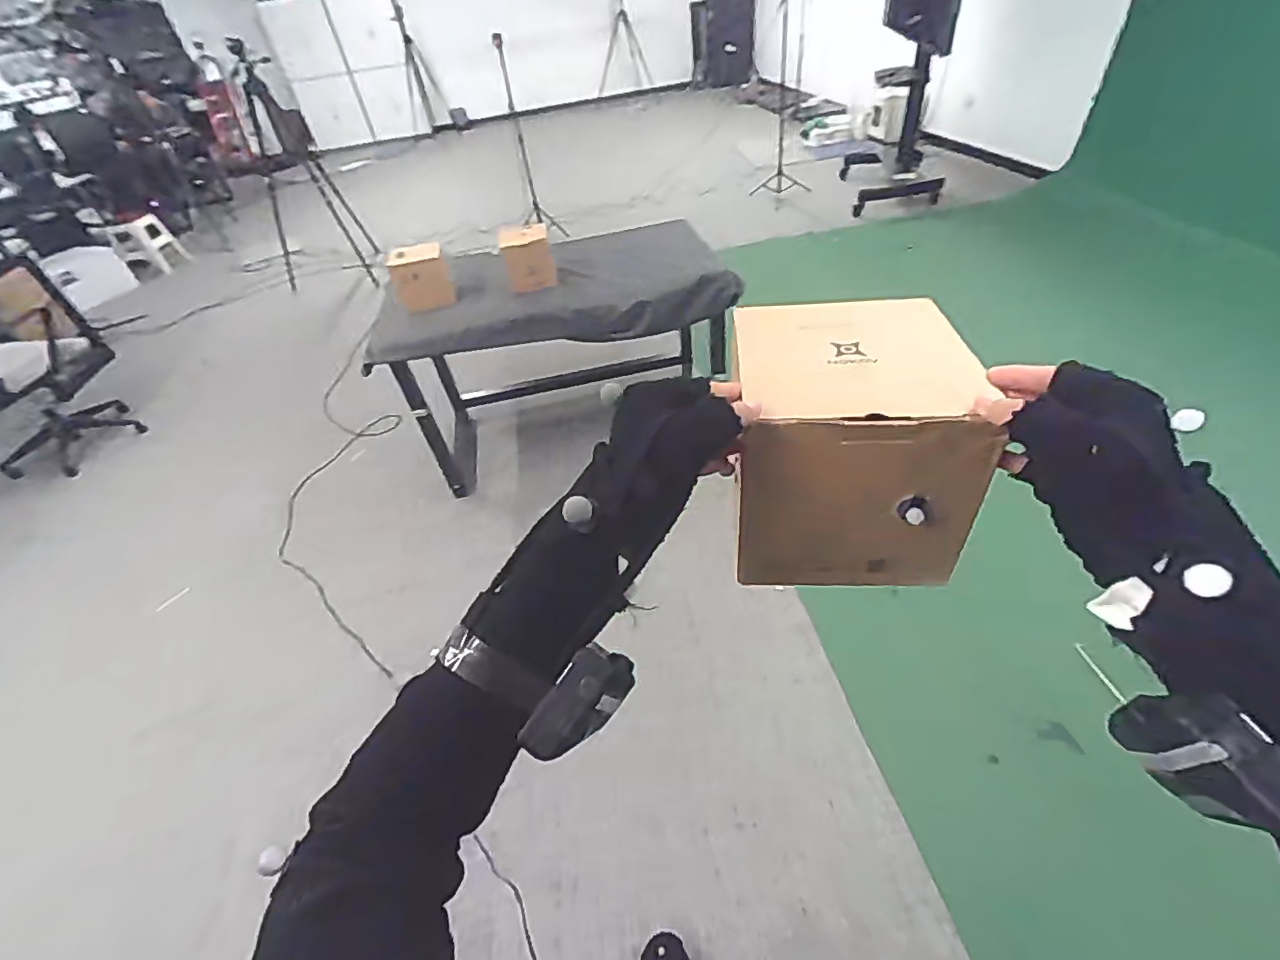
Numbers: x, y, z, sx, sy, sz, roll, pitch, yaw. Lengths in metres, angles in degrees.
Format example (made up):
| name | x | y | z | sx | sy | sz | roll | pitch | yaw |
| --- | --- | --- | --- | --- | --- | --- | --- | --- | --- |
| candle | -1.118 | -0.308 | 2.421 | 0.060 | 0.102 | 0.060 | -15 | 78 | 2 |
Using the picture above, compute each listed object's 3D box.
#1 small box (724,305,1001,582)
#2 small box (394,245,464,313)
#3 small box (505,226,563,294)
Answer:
| name | x | y | z | sx | sy | sz | roll | pitch | yaw |
| --- | --- | --- | --- | --- | --- | --- | --- | --- | --- |
| small box | 0.158 | -0.029 | 0.457 | 0.168 | 0.176 | 0.179 | -1 | 39 | 6 |
| small box | -0.733 | -0.701 | 1.895 | 0.179 | 0.176 | 0.168 | -13 | 43 | -6 |
| small box | -0.370 | -0.770 | 1.908 | 0.168 | 0.176 | 0.179 | -11 | 43 | -2 |
